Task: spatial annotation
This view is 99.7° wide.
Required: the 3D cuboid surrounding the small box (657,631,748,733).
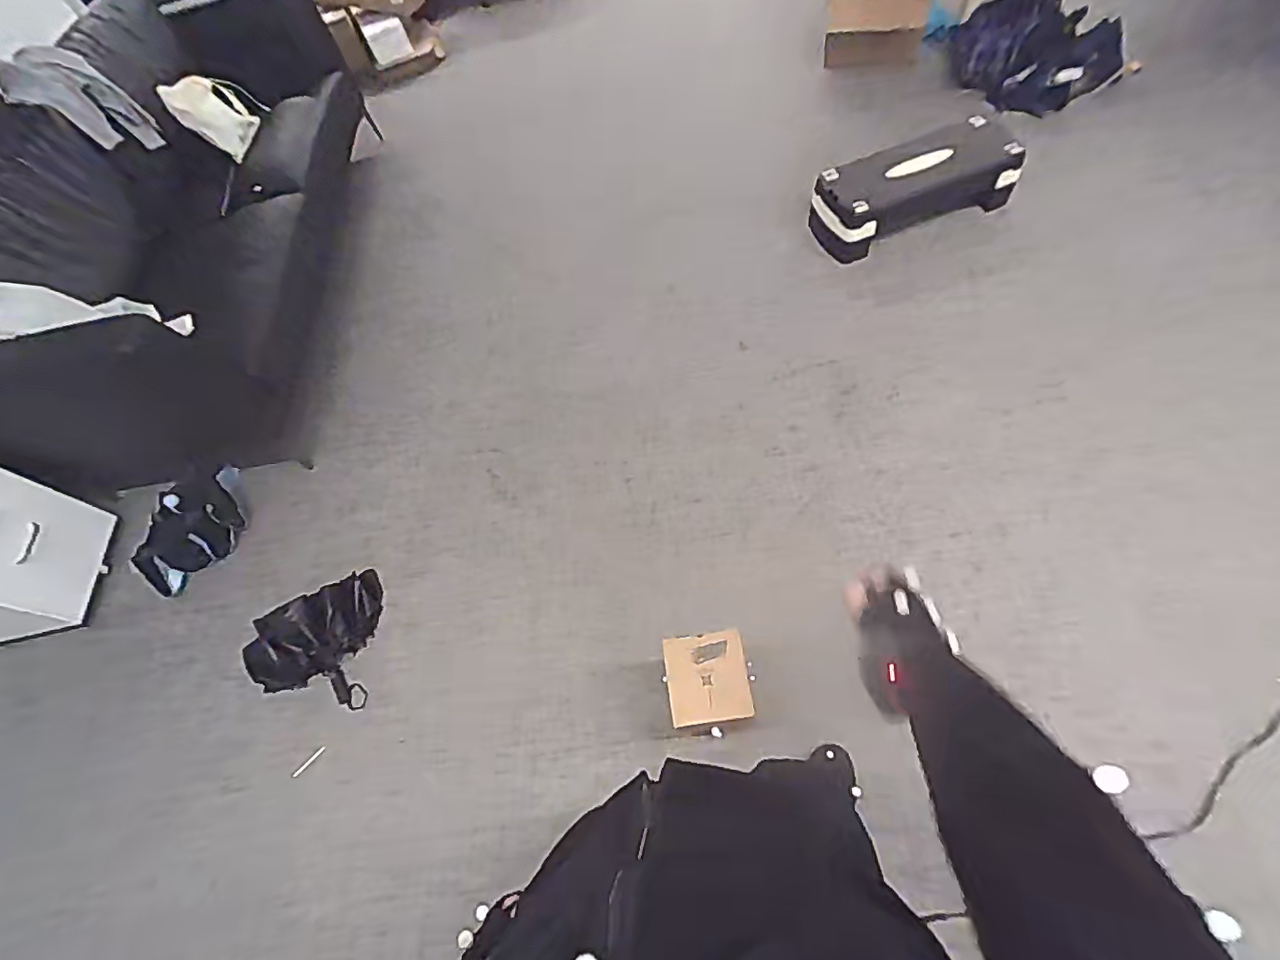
[{"bbox_3d":[0.136,0.443,1.177,0.168,0.176,0.179,-11,61,6],"label":"small box"}]
